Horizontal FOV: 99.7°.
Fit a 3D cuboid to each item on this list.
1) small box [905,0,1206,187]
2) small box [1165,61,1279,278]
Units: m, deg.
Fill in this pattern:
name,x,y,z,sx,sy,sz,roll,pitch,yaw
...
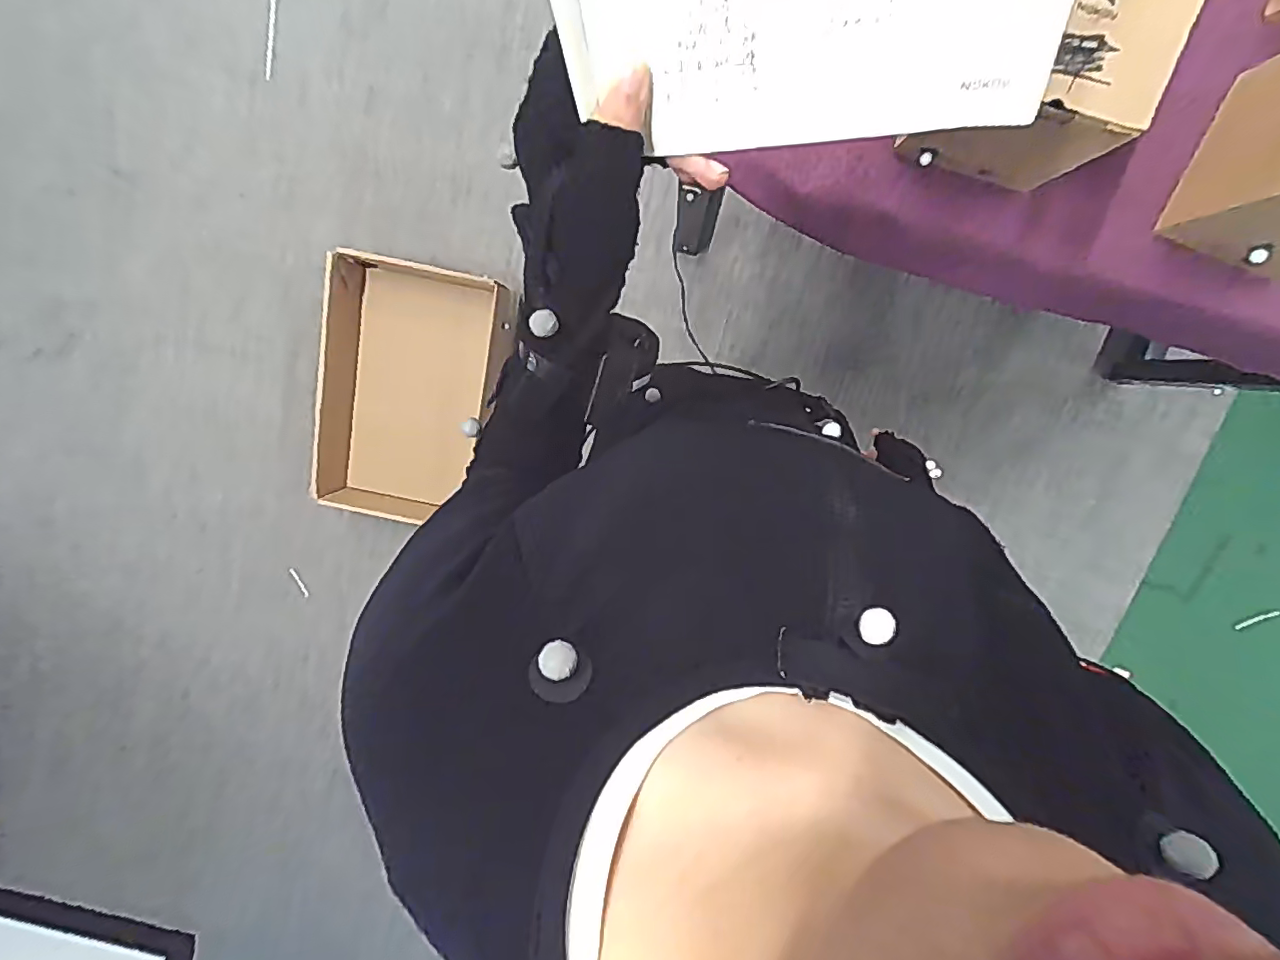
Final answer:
name,x,y,z,sx,sy,sz,roll,pitch,yaw
small box,0.394,-0.422,0.536,0.168,0.176,0.179,18,102,0
small box,0.702,-0.325,0.539,0.168,0.176,0.179,21,102,-1
